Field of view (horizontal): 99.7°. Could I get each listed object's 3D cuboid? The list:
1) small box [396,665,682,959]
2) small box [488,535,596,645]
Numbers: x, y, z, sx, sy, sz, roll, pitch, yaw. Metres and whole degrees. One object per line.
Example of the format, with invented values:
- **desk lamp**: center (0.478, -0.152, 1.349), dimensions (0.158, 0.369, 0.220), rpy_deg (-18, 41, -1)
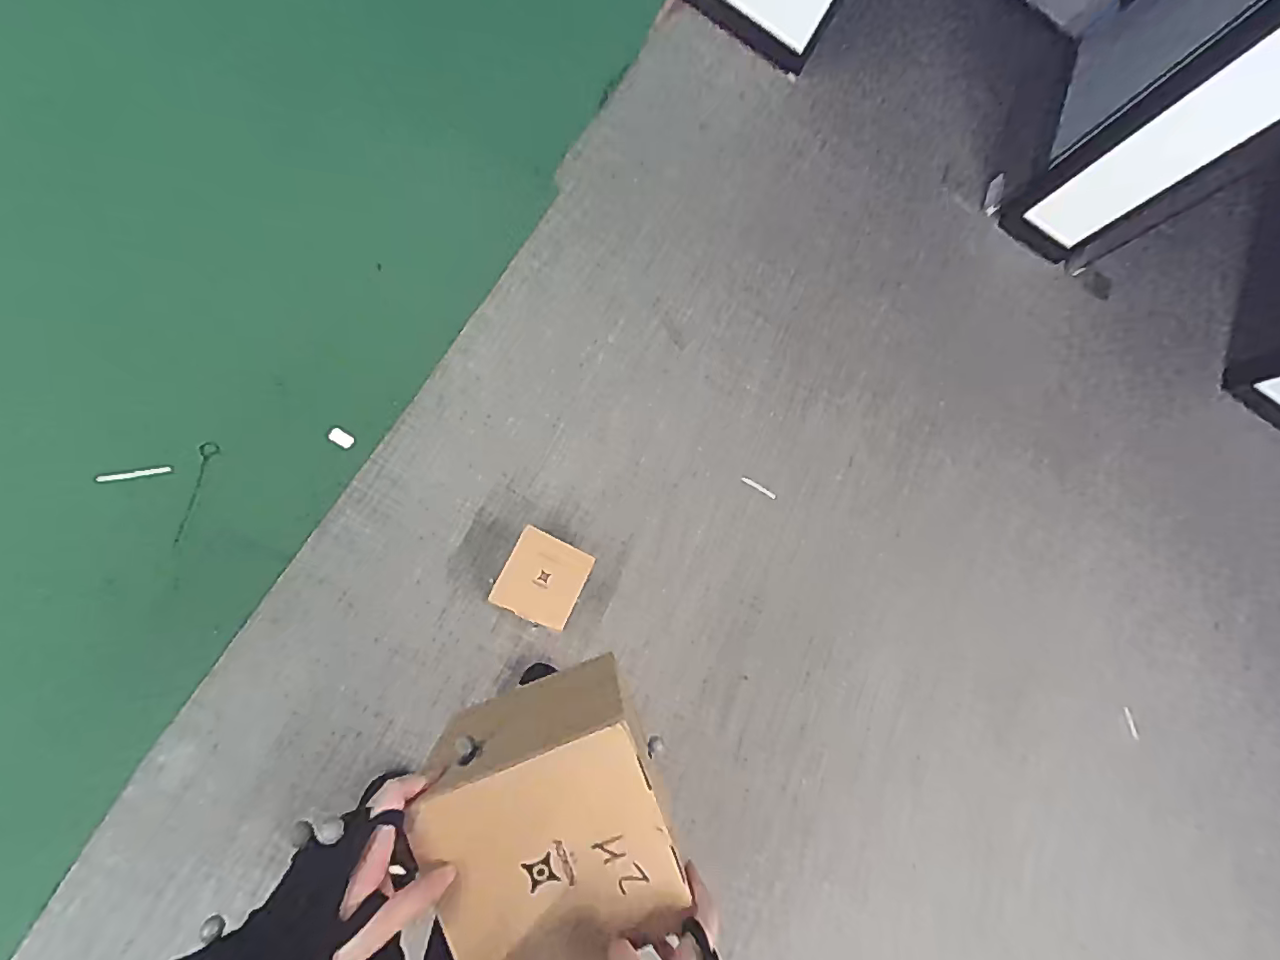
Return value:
- **small box**: center (-0.081, 0.293, 0.484), dimensions (0.179, 0.176, 0.168), rpy_deg (-20, 91, -6)
- **small box**: center (-0.220, 0.245, 1.192), dimensions (0.168, 0.176, 0.179), rpy_deg (29, 70, -9)
